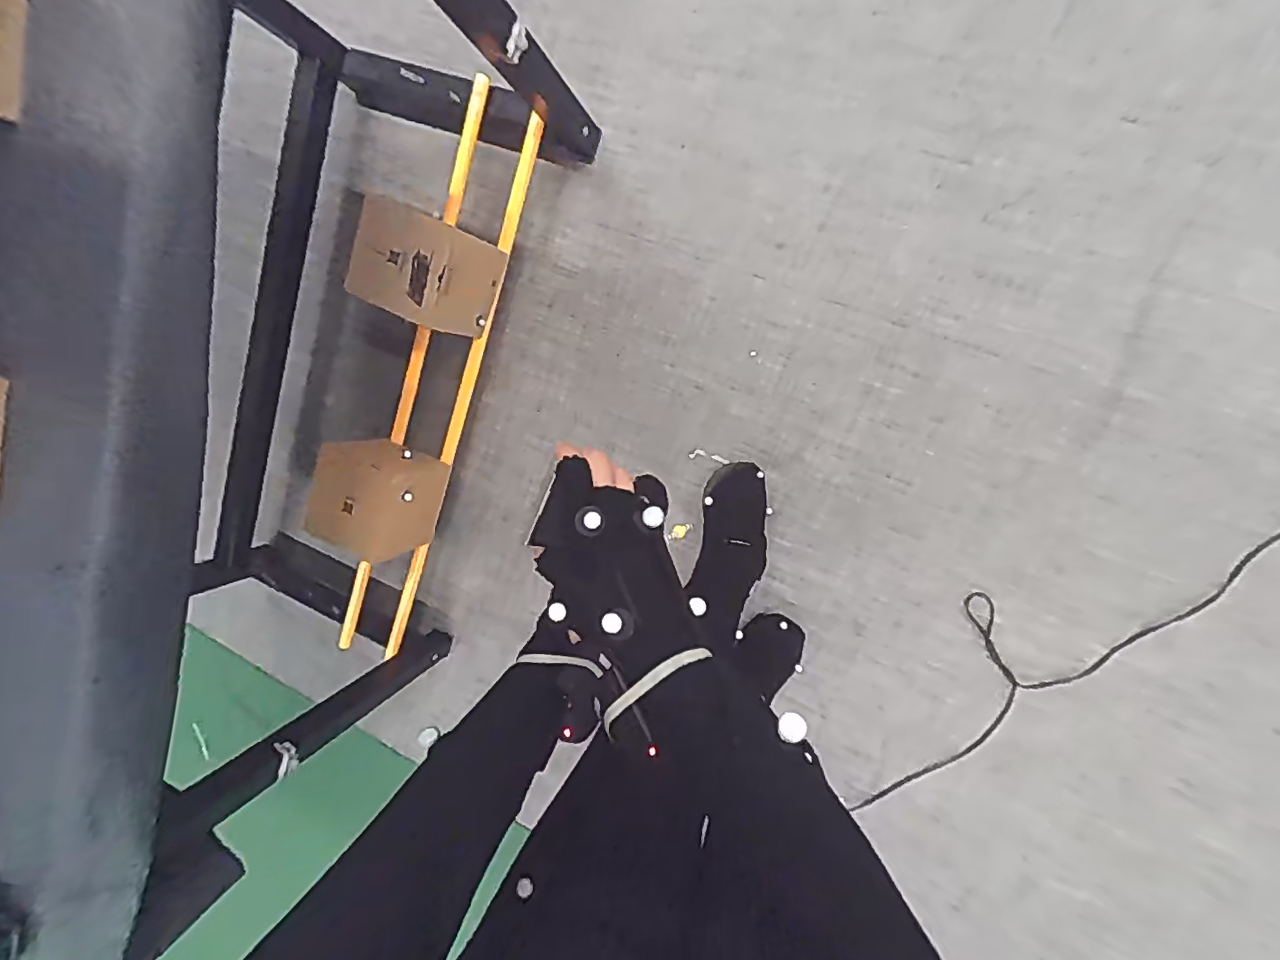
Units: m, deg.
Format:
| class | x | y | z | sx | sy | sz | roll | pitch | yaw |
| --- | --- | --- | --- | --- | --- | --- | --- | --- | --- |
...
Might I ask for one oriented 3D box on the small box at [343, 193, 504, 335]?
| class | x | y | z | sx | sy | sz | roll | pitch | yaw |
| --- | --- | --- | --- | --- | --- | --- | --- | --- | --- |
| small box | -0.367 | -0.364 | 0.943 | 0.179 | 0.176 | 0.168 | 26 | 104 | 11 |
